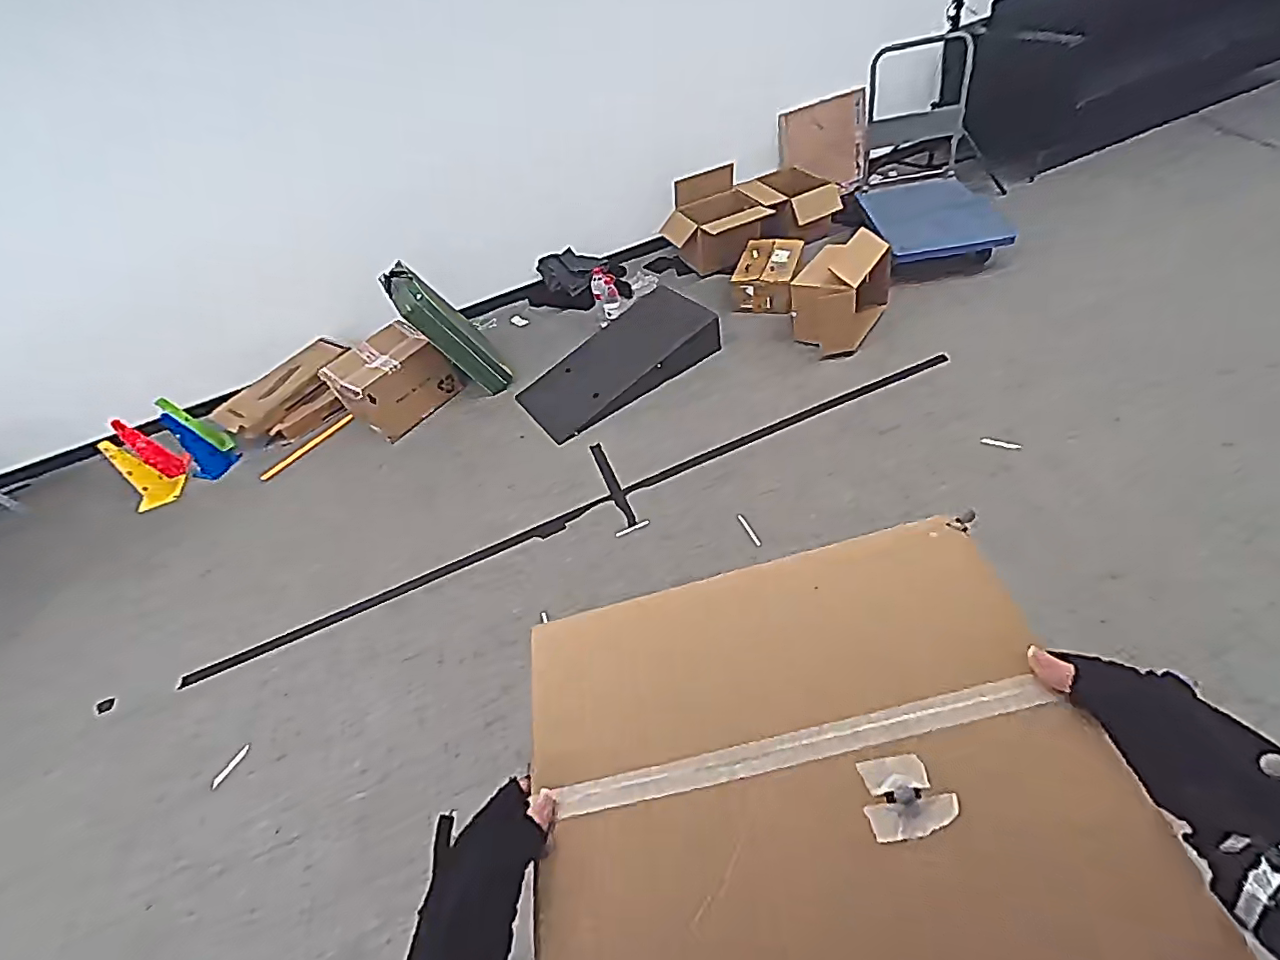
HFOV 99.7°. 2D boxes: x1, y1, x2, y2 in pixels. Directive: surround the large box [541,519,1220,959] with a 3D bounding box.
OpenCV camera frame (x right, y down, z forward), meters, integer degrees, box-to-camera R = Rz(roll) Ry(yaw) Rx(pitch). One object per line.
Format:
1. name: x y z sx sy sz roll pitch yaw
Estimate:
1. large box: 0.151 0.297 0.525 0.408 0.320 0.320 -17 48 6
